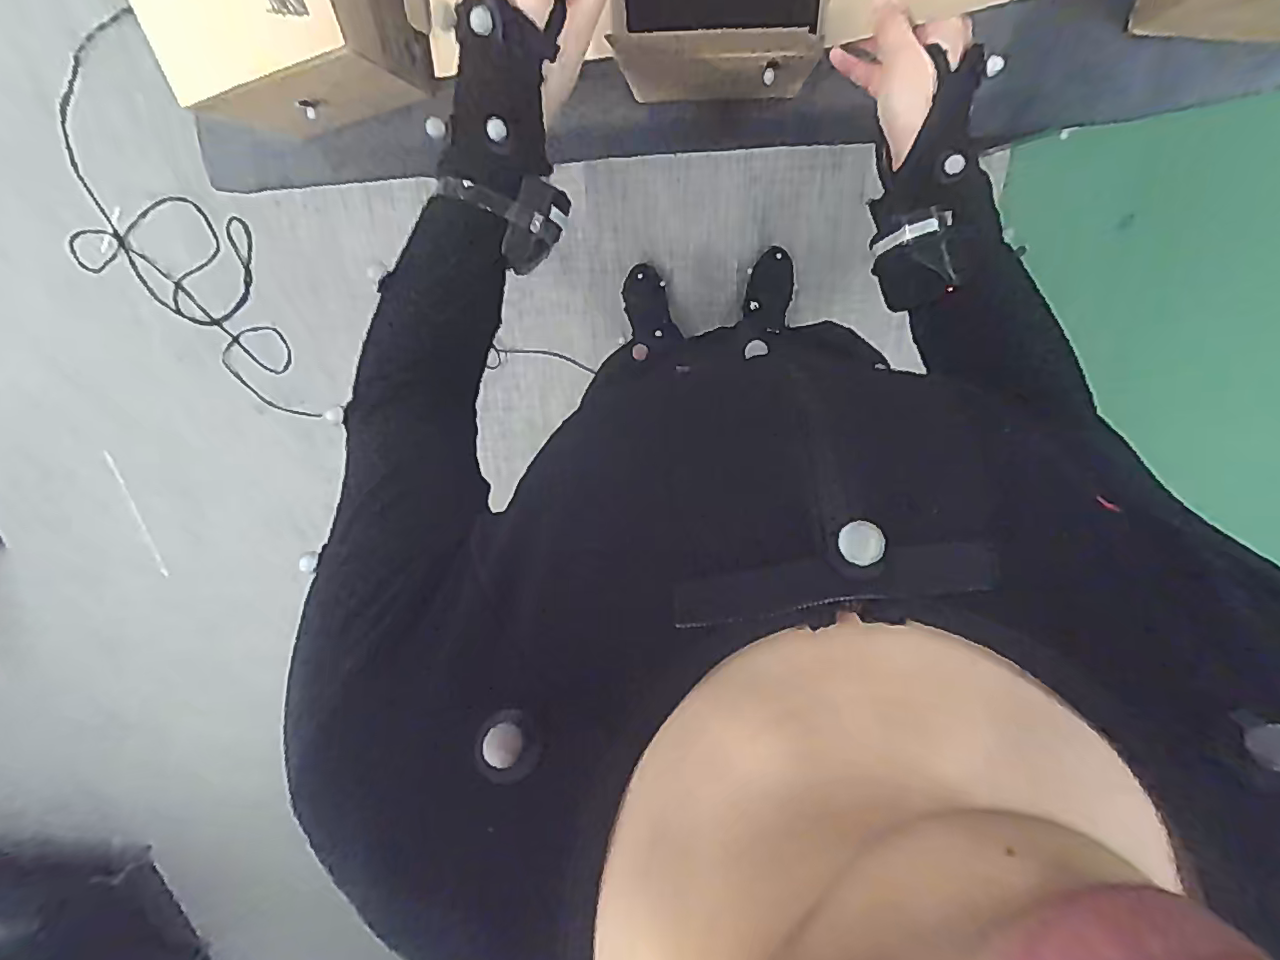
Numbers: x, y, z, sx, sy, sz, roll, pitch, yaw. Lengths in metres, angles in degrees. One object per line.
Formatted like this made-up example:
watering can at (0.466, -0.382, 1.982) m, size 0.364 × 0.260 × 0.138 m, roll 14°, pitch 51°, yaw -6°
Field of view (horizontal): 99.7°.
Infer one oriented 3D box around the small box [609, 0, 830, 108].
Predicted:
small box at (0.070, -0.446, 0.481) m, size 0.179 × 0.176 × 0.168 m, roll 1°, pitch 115°, yaw 6°

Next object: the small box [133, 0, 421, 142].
small box at (-0.338, -0.449, 0.519) m, size 0.179 × 0.176 × 0.168 m, roll -10°, pitch 112°, yaw 11°
